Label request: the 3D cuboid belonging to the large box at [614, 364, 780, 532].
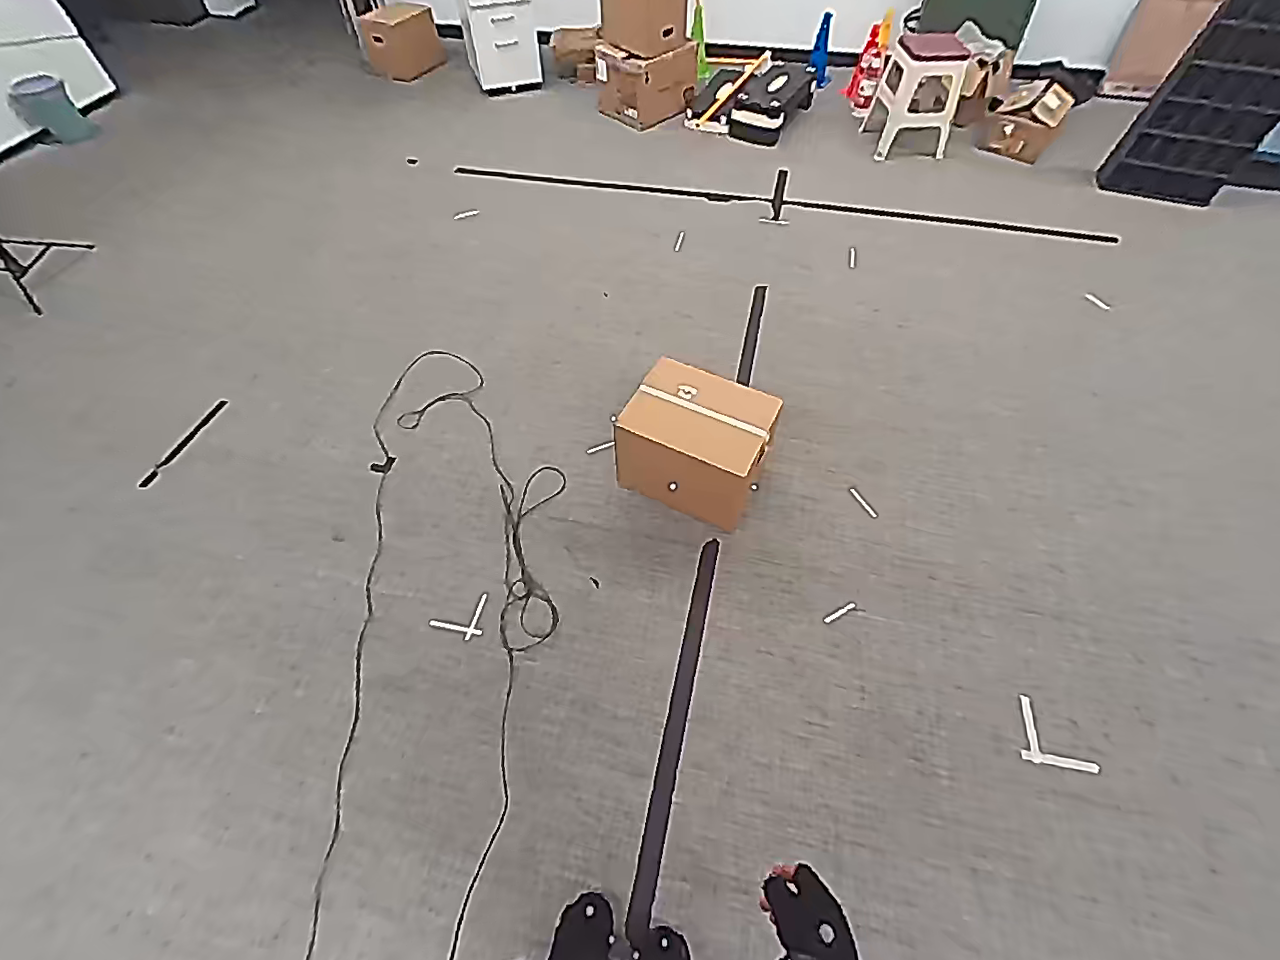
[{"bbox_3d":[0.173,-0.098,1.686,0.408,0.320,0.320,23,58,16],"label":"large box"}]
